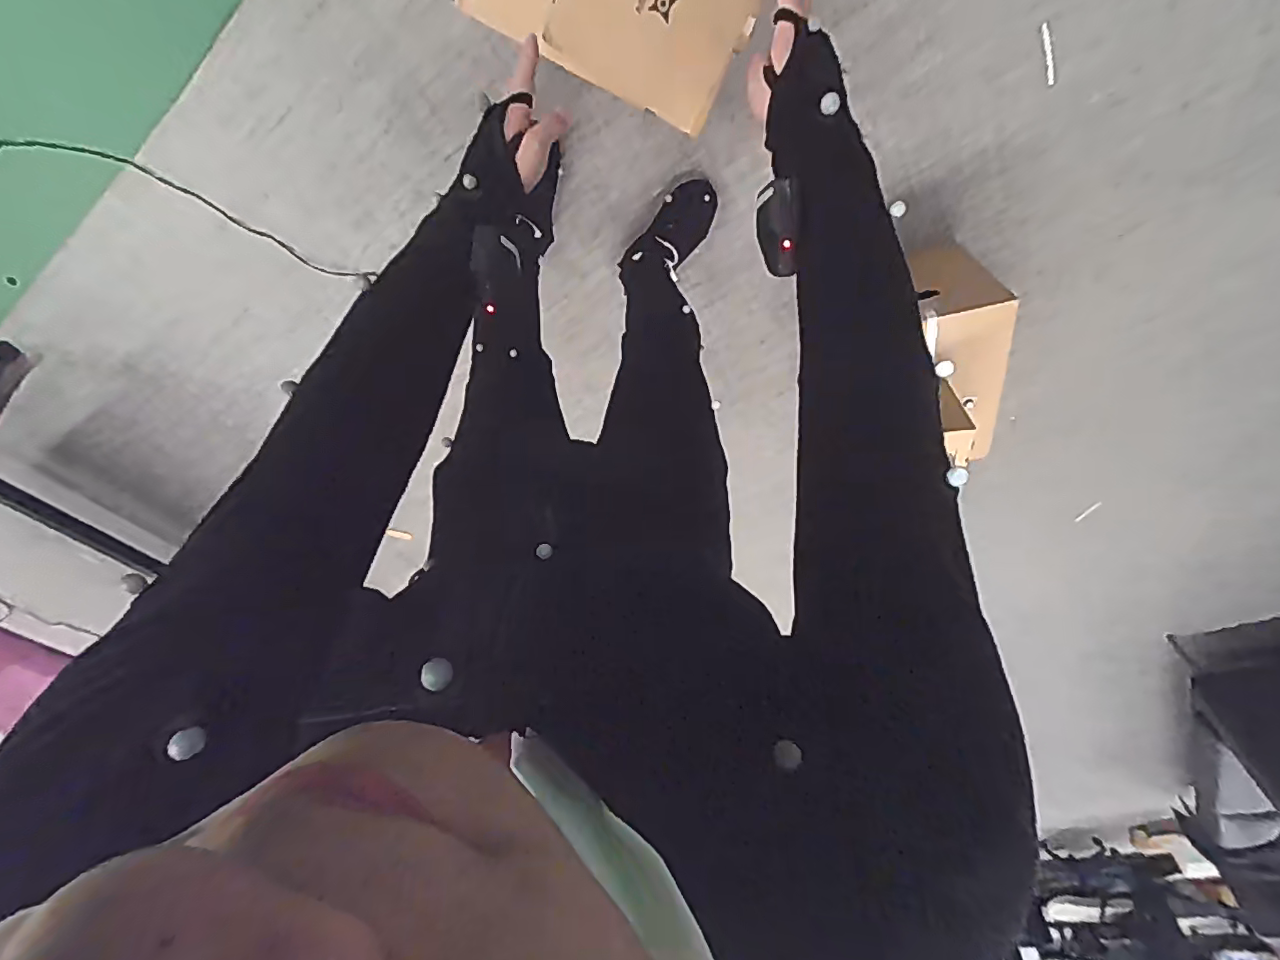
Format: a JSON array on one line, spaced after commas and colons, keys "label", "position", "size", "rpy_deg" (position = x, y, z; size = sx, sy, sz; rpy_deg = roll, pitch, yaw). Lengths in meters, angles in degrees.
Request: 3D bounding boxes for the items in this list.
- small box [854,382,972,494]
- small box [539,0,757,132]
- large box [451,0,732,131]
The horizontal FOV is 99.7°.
[{"label": "small box", "position": [0.571, -0.093, 1.156], "size": [0.179, 0.176, 0.168], "rpy_deg": [-7, 132, 12]}, {"label": "small box", "position": [0.016, -0.514, 0.569], "size": [0.179, 0.176, 0.168], "rpy_deg": [23, 129, -17]}, {"label": "large box", "position": [-0.026, -0.824, 0.844], "size": [0.408, 0.320, 0.320], "rpy_deg": [20, 130, -13]}]
